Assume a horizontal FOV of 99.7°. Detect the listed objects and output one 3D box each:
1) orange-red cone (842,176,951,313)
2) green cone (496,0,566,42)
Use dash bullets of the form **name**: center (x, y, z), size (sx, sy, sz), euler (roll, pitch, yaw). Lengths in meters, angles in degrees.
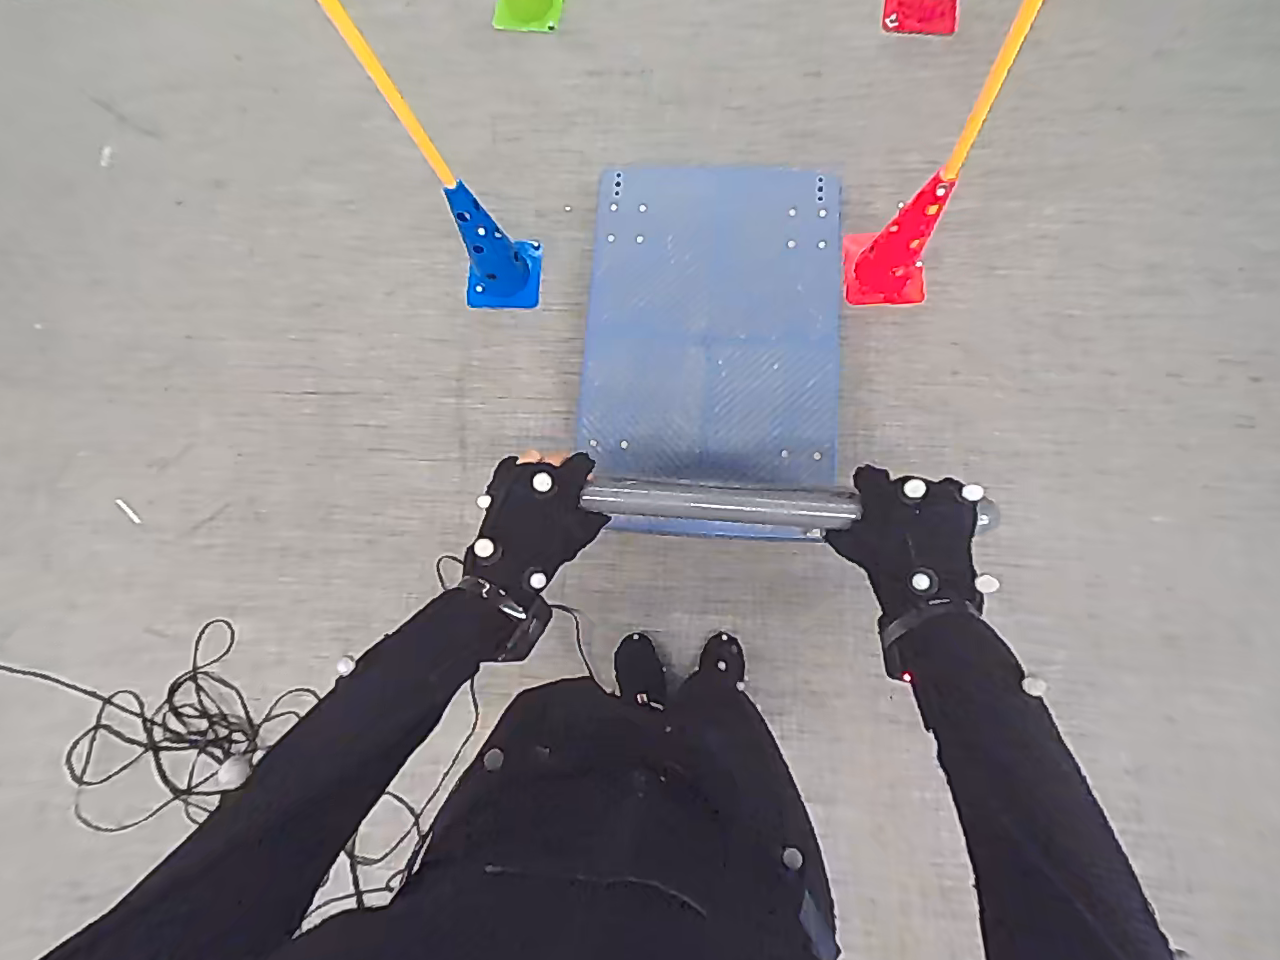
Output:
- **orange-red cone**: center (0.620, -0.563, 1.260), size (0.199, 0.360, 0.198), euler (1, 80, 6)
- **green cone**: center (-0.341, -1.443, 1.465), size (0.202, 0.368, 0.200), euler (6, 80, 6)
